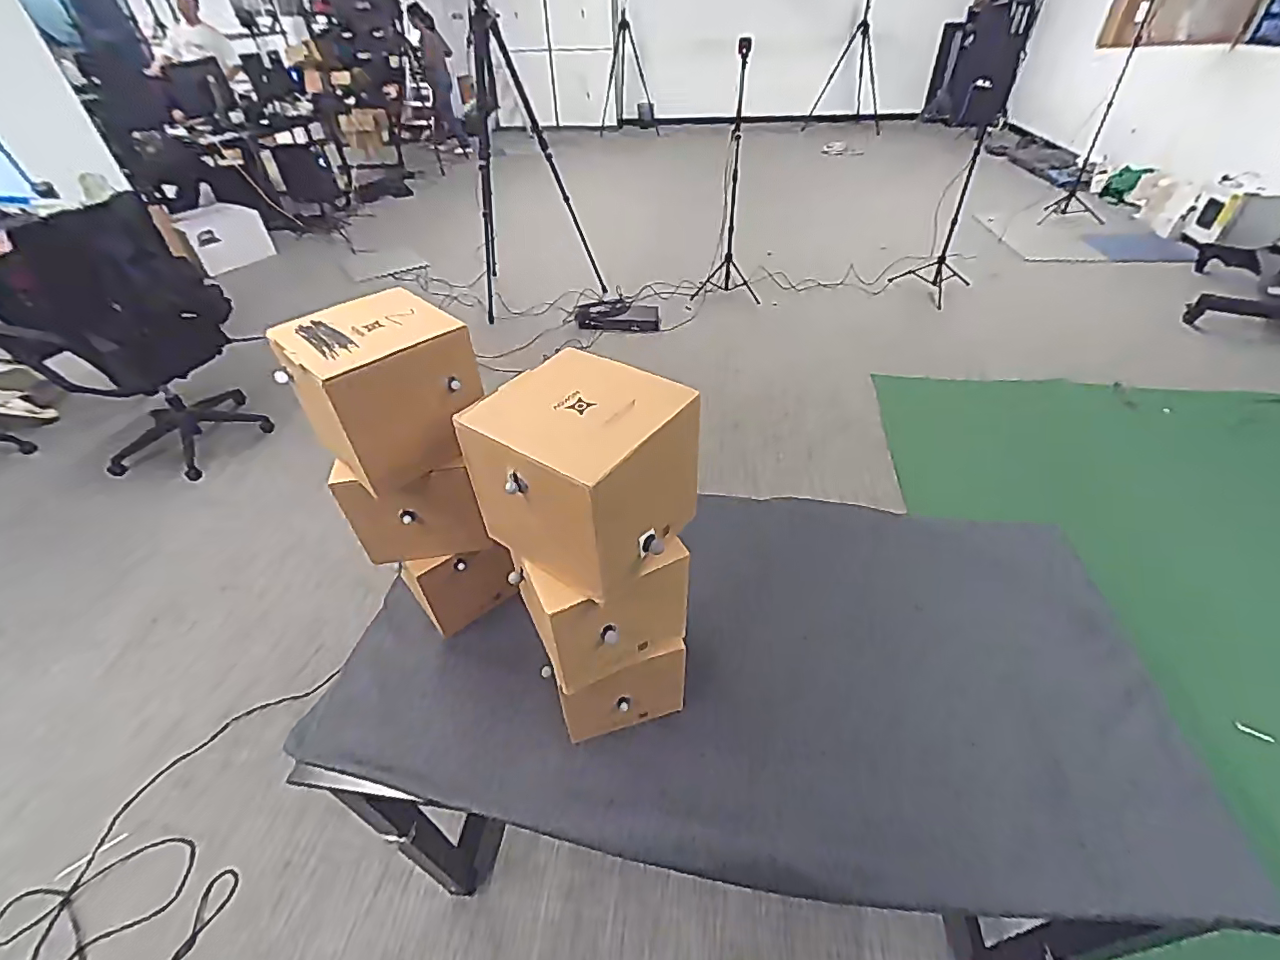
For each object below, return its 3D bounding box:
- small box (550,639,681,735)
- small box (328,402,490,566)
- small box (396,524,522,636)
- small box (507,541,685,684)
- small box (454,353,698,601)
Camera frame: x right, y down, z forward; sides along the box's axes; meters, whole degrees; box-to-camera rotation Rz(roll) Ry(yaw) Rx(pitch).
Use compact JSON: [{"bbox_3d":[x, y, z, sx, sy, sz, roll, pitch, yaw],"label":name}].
[{"bbox_3d":[-0.044,0.240,0.776,0.168,0.176,0.179,-12,42,-12],"label":"small box"},{"bbox_3d":[-0.323,0.007,0.807,0.179,0.176,0.168,-8,43,-6],"label":"small box"},{"bbox_3d":[-0.317,0.127,0.920,0.168,0.176,0.179,-32,49,-29],"label":"small box"},{"bbox_3d":[-0.056,0.122,0.665,0.168,0.176,0.179,-21,44,-19],"label":"small box"},{"bbox_3d":[-0.057,-0.005,0.564,0.179,0.176,0.168,25,49,28],"label":"small box"}]
